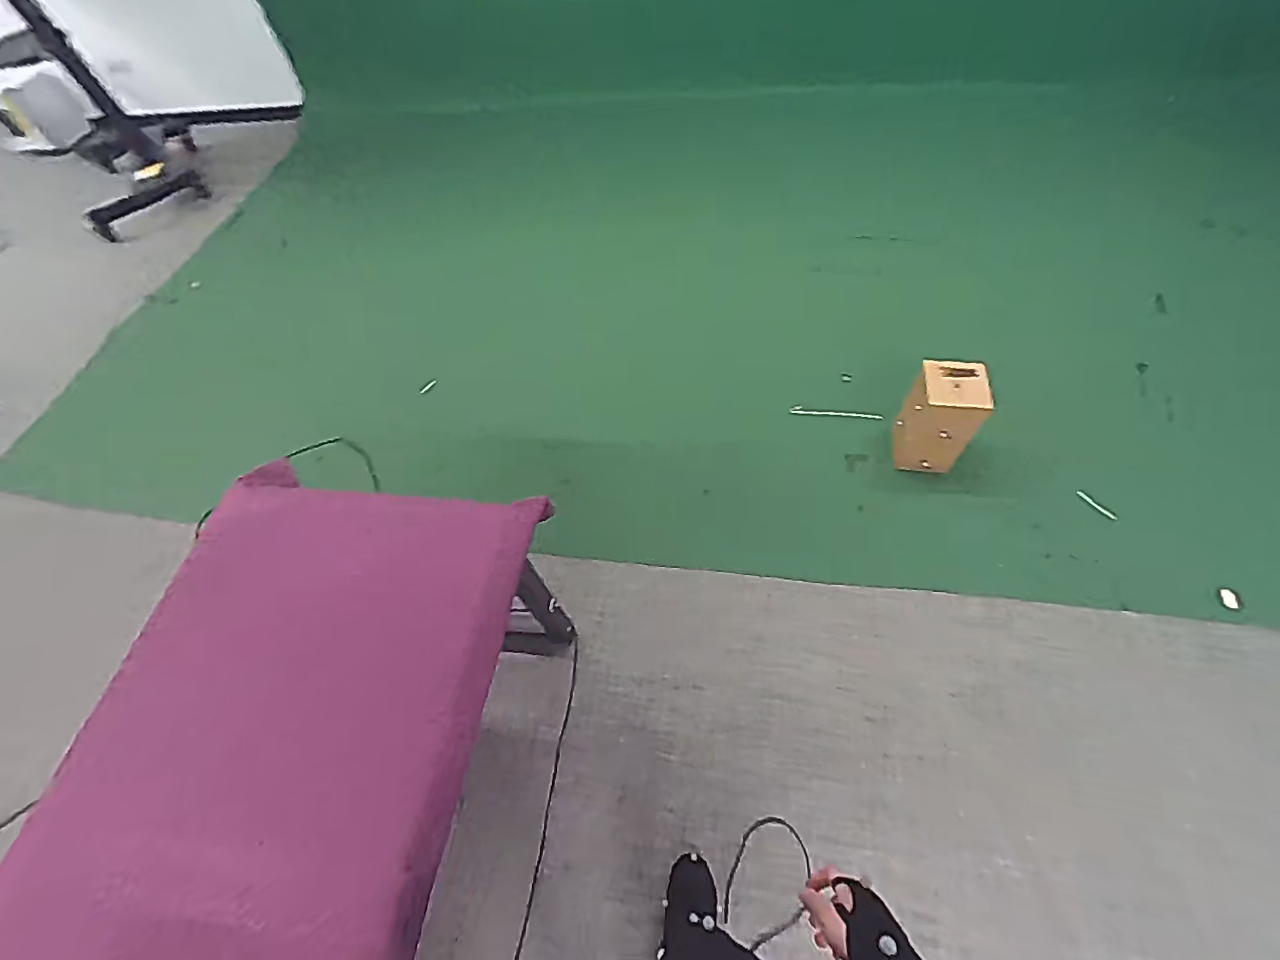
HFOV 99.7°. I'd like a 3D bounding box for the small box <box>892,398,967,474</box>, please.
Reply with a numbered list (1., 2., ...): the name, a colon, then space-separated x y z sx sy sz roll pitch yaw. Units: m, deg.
1. small box: 0.934 -0.143 1.761 0.168 0.176 0.179 6 59 11
